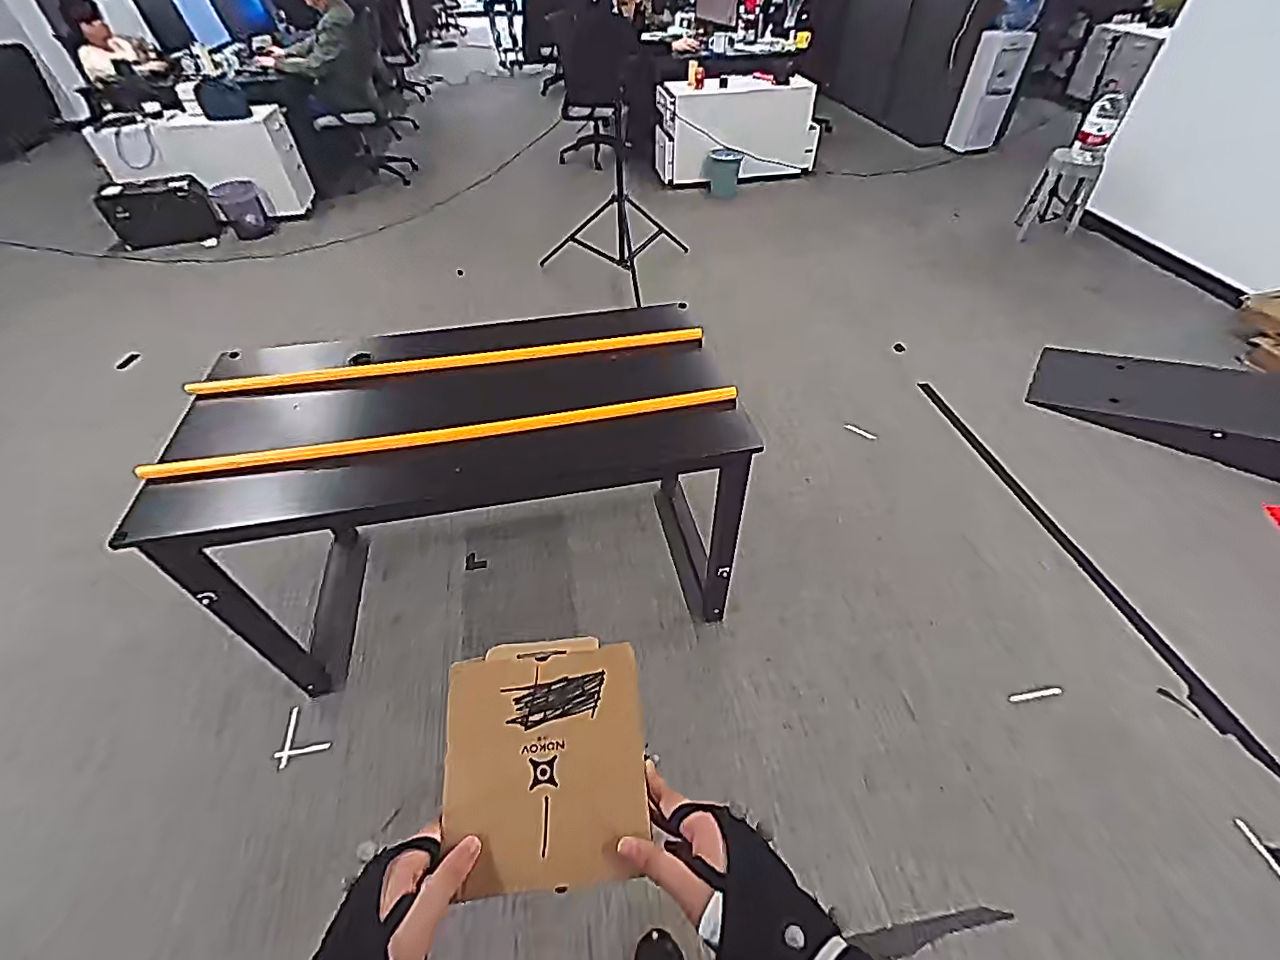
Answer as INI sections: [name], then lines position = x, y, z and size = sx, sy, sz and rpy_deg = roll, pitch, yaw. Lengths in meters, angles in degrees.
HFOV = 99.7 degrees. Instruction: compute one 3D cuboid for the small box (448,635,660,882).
[small box]
position = -0.073, 0.264, 0.524
size = 0.168, 0.176, 0.179
rpy_deg = -5, 61, -2
